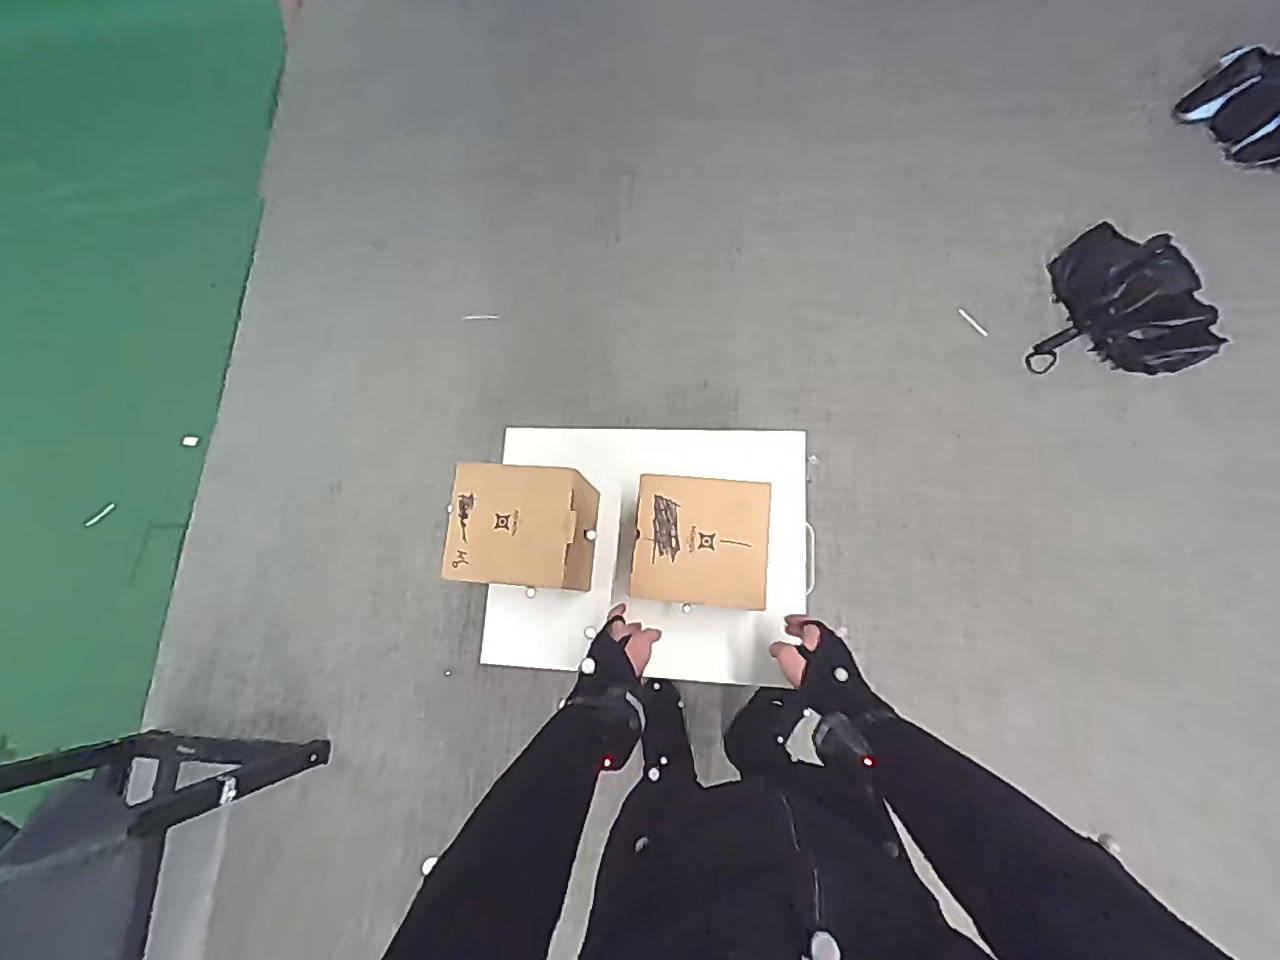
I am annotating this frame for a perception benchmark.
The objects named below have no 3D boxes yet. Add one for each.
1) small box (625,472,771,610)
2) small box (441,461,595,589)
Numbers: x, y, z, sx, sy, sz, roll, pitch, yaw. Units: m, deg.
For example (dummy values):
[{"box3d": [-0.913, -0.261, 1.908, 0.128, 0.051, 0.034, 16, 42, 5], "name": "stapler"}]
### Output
[{"box3d": [0.086, 0.092, 0.768, 0.179, 0.176, 0.168, 4, 79, 9], "name": "small box"}, {"box3d": [-0.169, 0.074, 0.811, 0.179, 0.176, 0.168, 3, 78, 7], "name": "small box"}]
